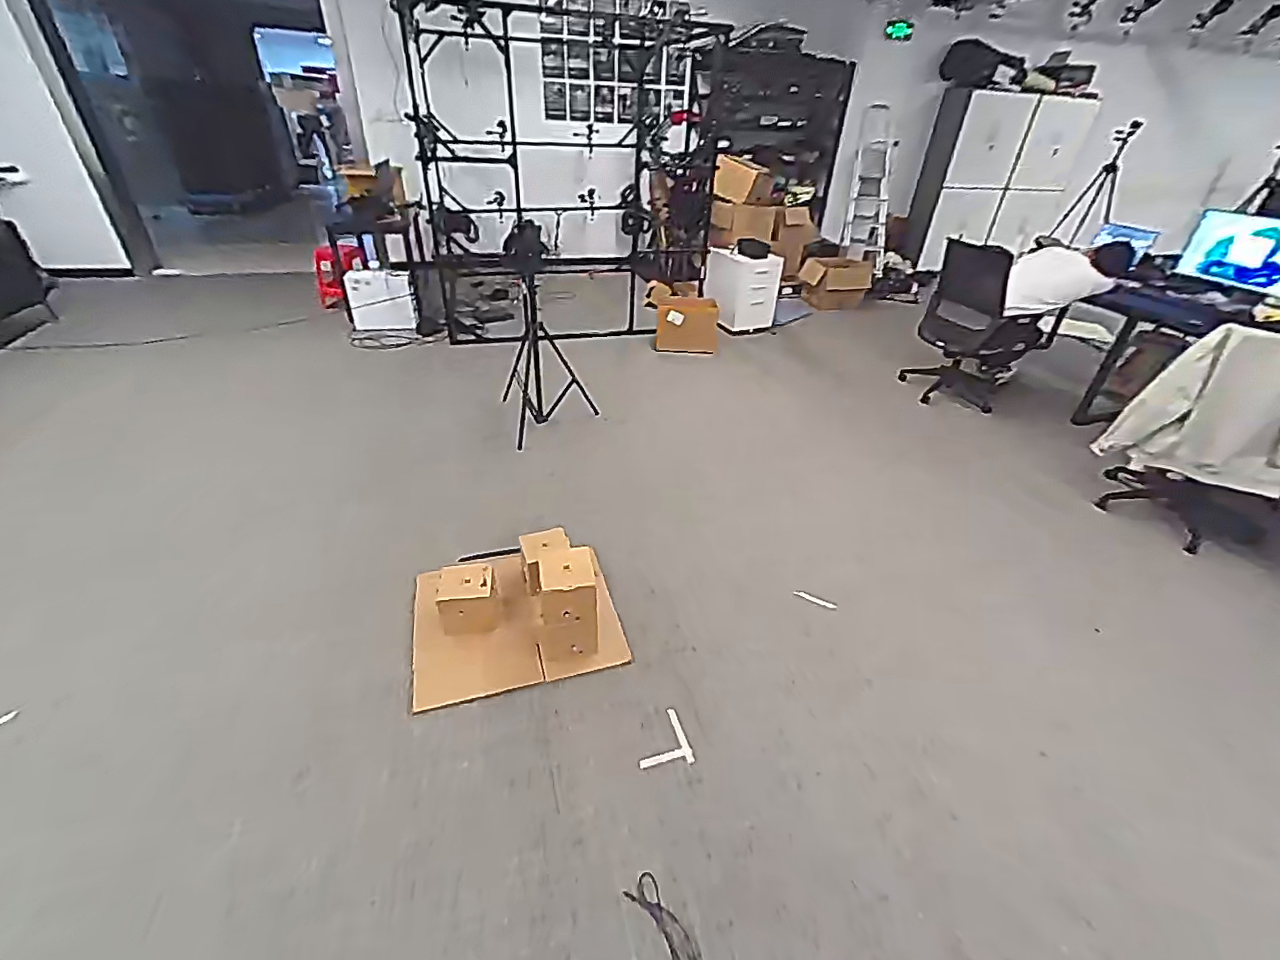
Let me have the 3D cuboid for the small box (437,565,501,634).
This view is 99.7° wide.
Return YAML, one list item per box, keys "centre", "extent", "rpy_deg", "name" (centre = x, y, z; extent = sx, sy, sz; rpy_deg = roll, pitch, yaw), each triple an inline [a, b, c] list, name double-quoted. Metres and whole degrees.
- centre: [-0.591, 0.419, 1.891]
  extent: [0.179, 0.176, 0.168]
  rpy_deg: [-4, 35, -7]
  name: "small box"

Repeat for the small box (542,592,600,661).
- centre: [-0.235, 0.480, 1.829]
  extent: [0.168, 0.176, 0.179]
  rpy_deg: [-8, 37, -15]
  name: "small box"

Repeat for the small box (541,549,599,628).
- centre: [-0.227, 0.347, 1.736]
  extent: [0.168, 0.176, 0.179]
  rpy_deg: [-6, 36, -12]
  name: "small box"

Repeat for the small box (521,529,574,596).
- centre: [-0.348, 0.316, 2.064]
  extent: [0.179, 0.176, 0.168]
  rpy_deg: [-11, 35, -19]
  name: "small box"
